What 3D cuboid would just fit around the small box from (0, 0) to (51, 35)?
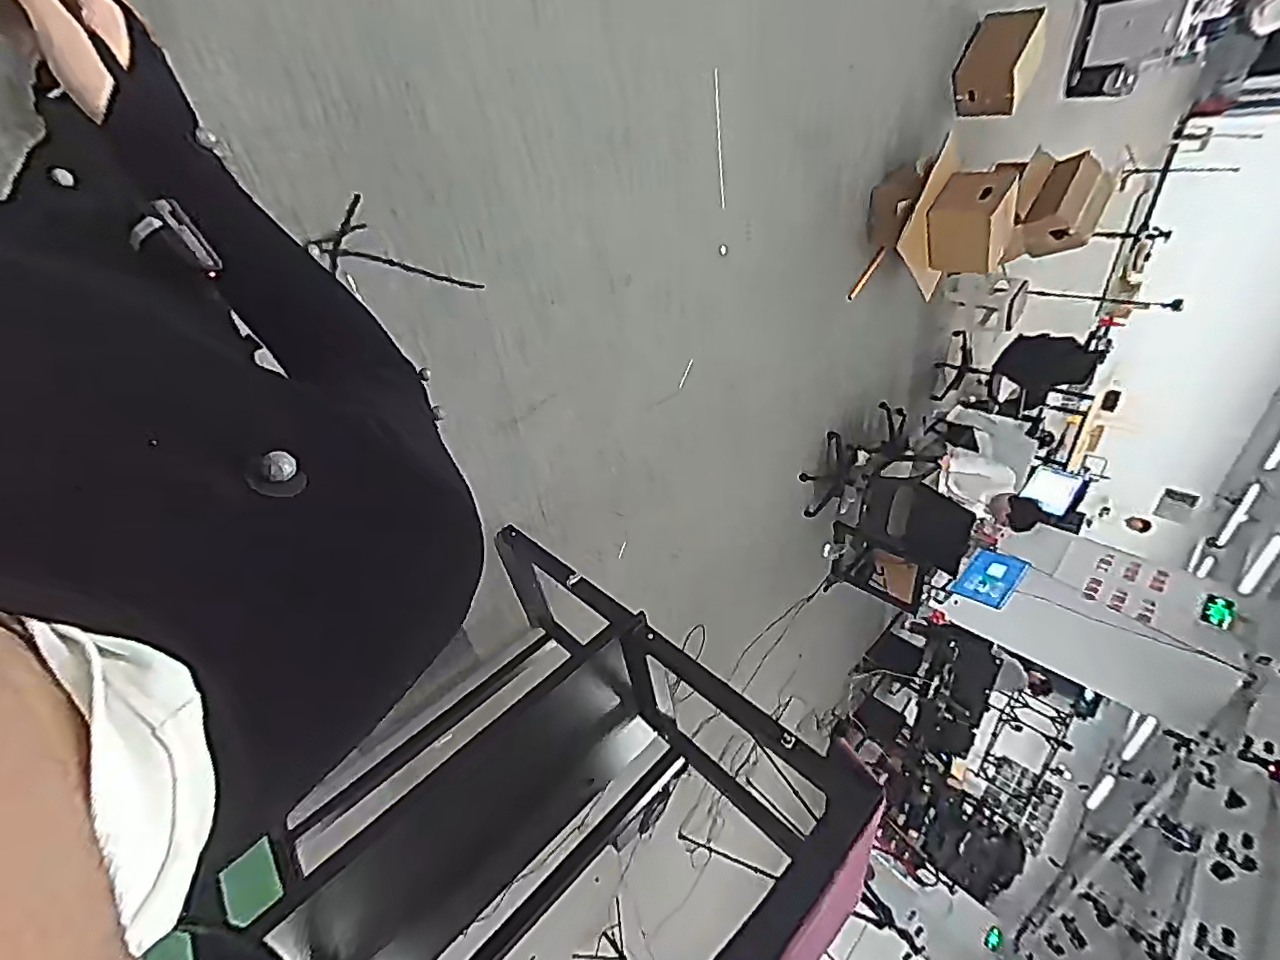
[{"bbox_3d":[-0.522,-0.410,0.338,0.179,0.176,0.168,-25,125,-39],"label":"small box"}]
